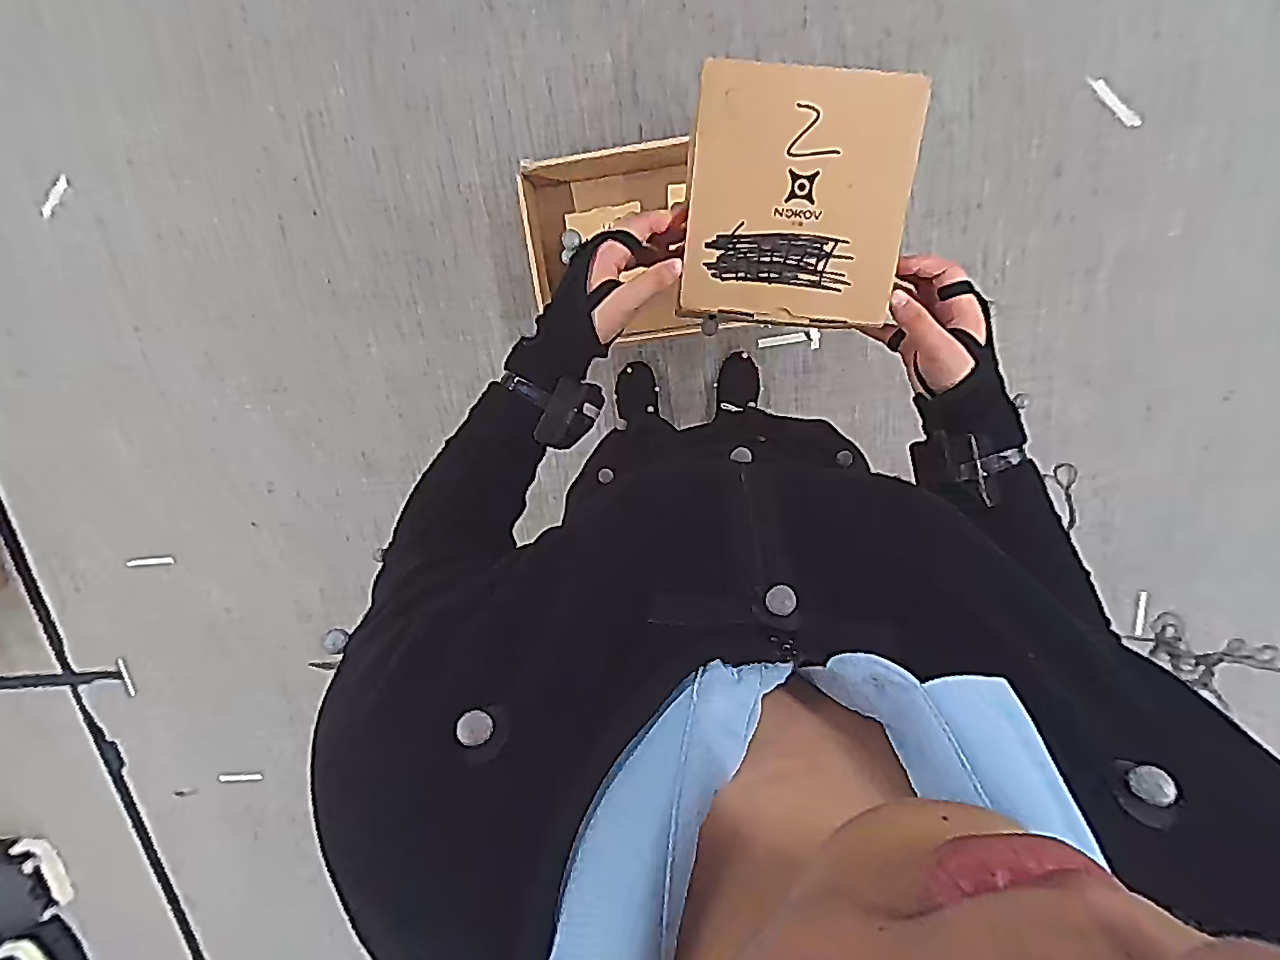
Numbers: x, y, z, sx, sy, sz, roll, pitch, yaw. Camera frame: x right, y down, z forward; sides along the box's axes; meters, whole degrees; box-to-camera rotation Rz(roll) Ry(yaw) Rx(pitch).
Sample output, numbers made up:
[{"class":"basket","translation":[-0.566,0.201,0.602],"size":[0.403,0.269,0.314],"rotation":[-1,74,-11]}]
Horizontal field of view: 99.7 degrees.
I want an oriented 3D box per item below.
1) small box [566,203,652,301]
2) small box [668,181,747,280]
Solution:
[{"class":"small box","translation":[-0.065,-0.515,1.246],"size":[0.168,0.176,0.179],"rotation":[-9,104,3]},{"class":"small box","translation":[0.148,-0.559,1.227],"size":[0.168,0.176,0.179],"rotation":[-1,105,4]}]
